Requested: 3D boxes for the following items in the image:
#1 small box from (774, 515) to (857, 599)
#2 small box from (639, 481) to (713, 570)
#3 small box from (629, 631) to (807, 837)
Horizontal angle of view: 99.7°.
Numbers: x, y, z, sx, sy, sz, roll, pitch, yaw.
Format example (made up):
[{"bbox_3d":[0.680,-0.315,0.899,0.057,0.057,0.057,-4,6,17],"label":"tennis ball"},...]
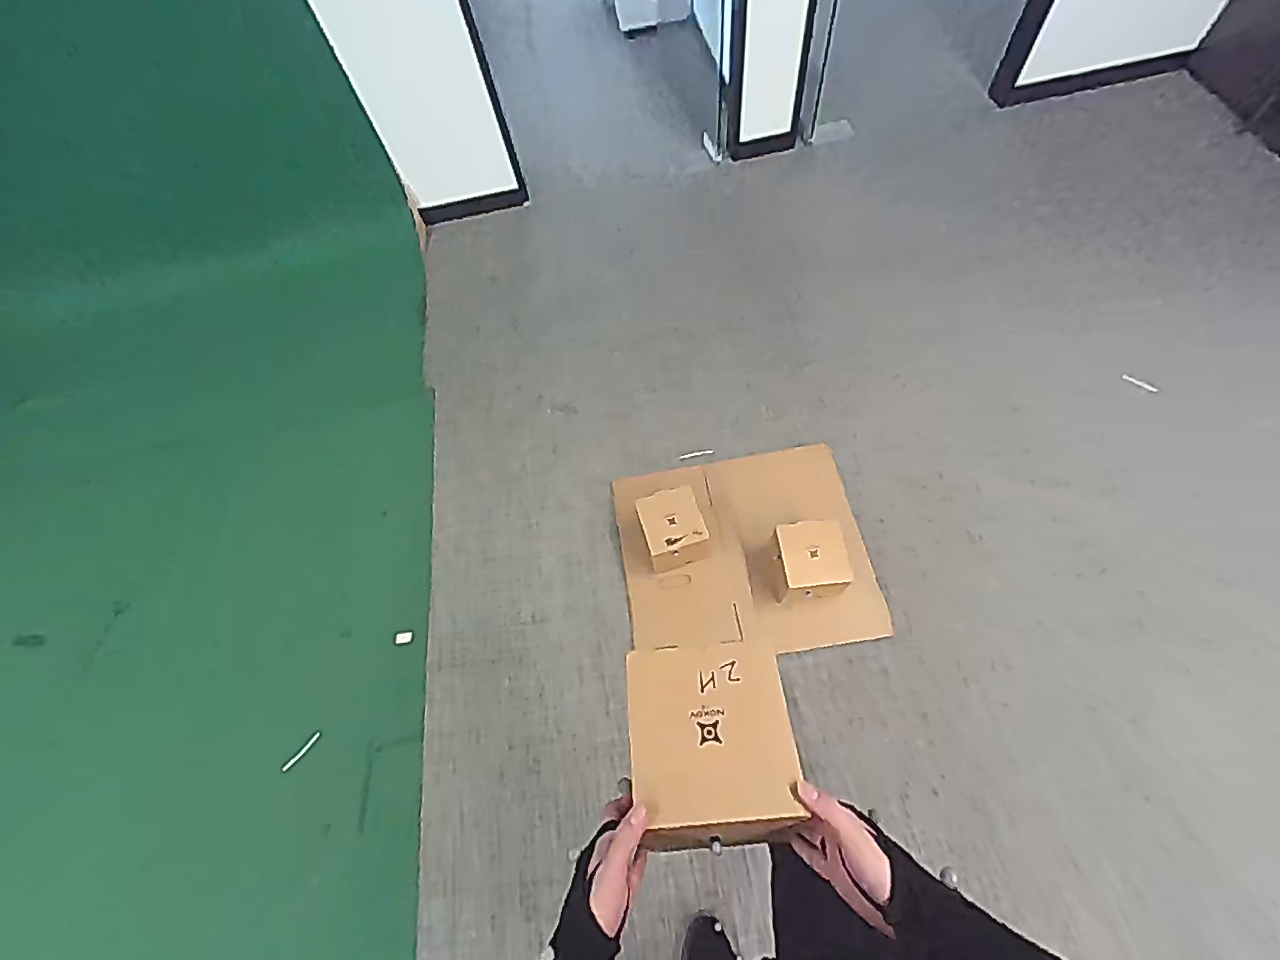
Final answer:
[{"bbox_3d":[0.461,0.214,1.450,0.168,0.176,0.179,-7,62,4],"label":"small box"},{"bbox_3d":[0.102,0.133,1.536,0.168,0.176,0.179,-17,62,-2],"label":"small box"},{"bbox_3d":[0.078,0.292,0.612,0.168,0.176,0.179,-5,49,1],"label":"small box"}]
